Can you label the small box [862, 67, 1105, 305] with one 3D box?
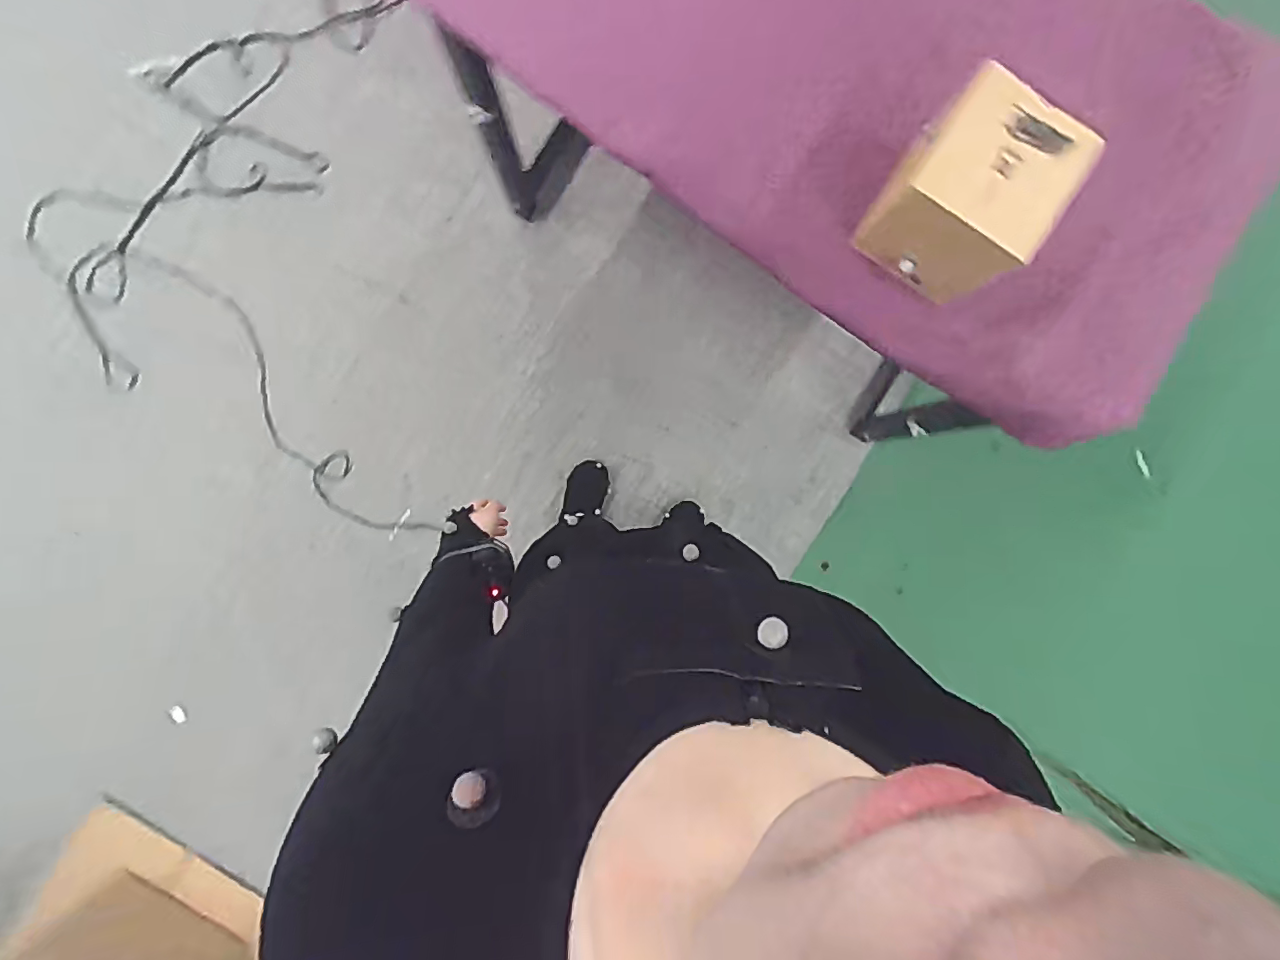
[{"bbox_3d":[0.426,-0.364,0.705,0.168,0.176,0.179,34,90,-2],"label":"small box"}]
